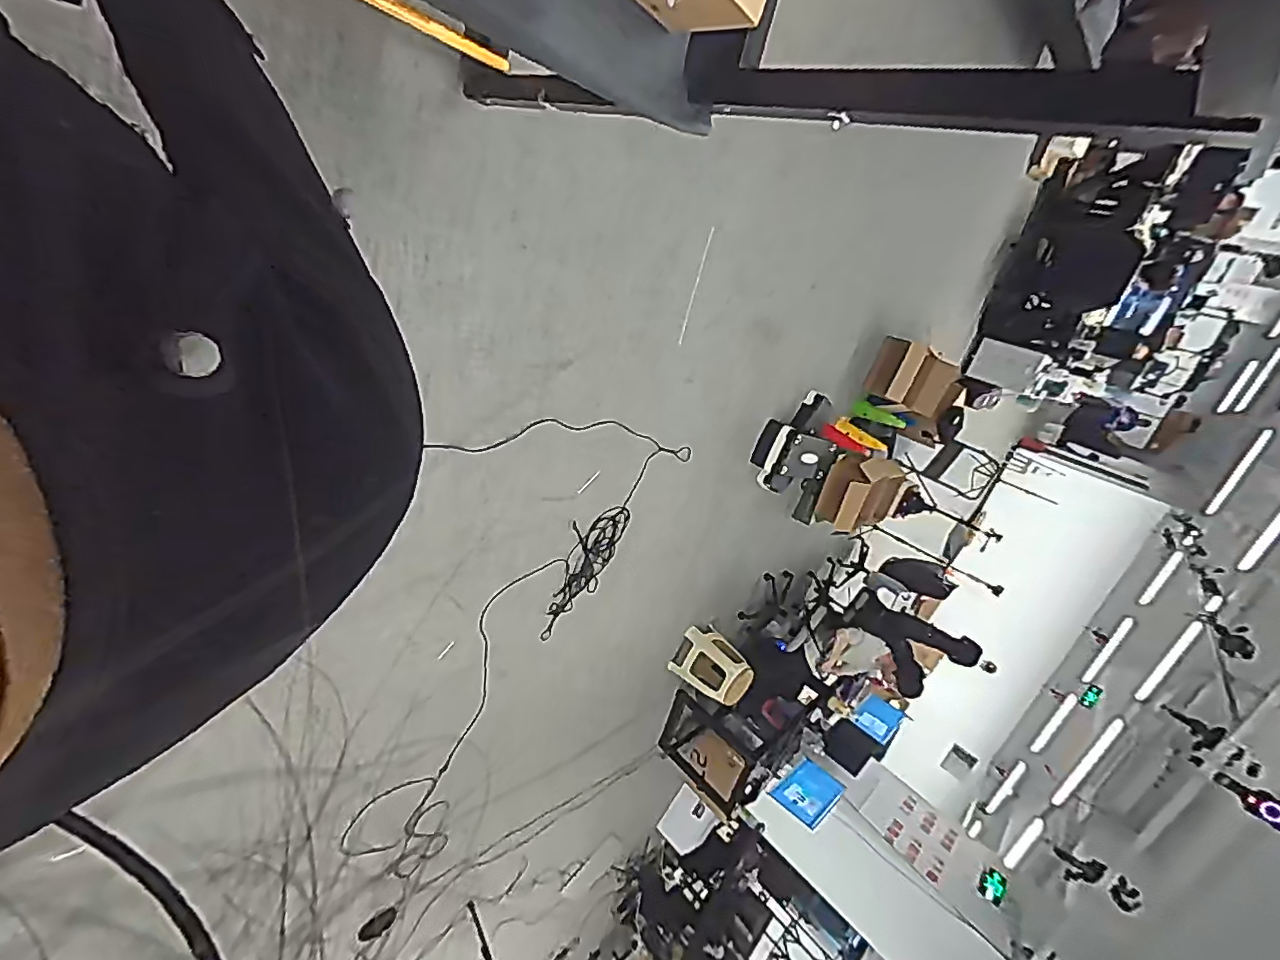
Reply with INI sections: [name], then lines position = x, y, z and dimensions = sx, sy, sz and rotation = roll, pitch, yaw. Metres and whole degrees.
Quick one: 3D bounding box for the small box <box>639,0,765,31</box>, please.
[small box]
position = 0.073, -0.725, 0.701
dimensions = 0.168, 0.176, 0.179
rotation = -4, 118, -48
